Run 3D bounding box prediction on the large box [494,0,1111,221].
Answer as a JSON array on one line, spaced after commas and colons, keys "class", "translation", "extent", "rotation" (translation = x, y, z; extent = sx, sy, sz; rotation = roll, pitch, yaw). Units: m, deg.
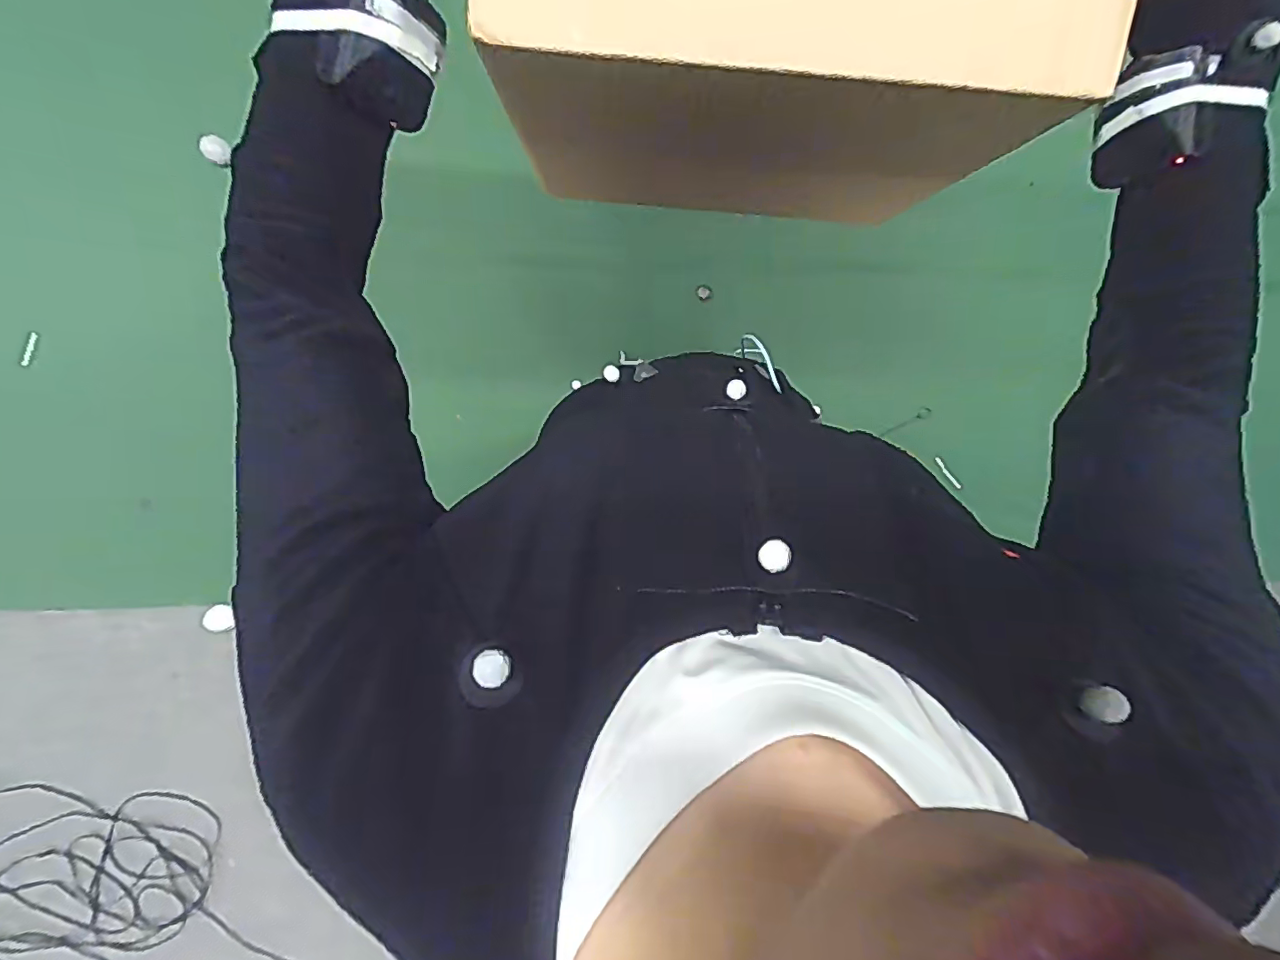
[{"class": "large box", "translation": [0.103, -0.438, 0.468], "extent": [0.408, 0.320, 0.320], "rotation": [3, 101, -3]}]
